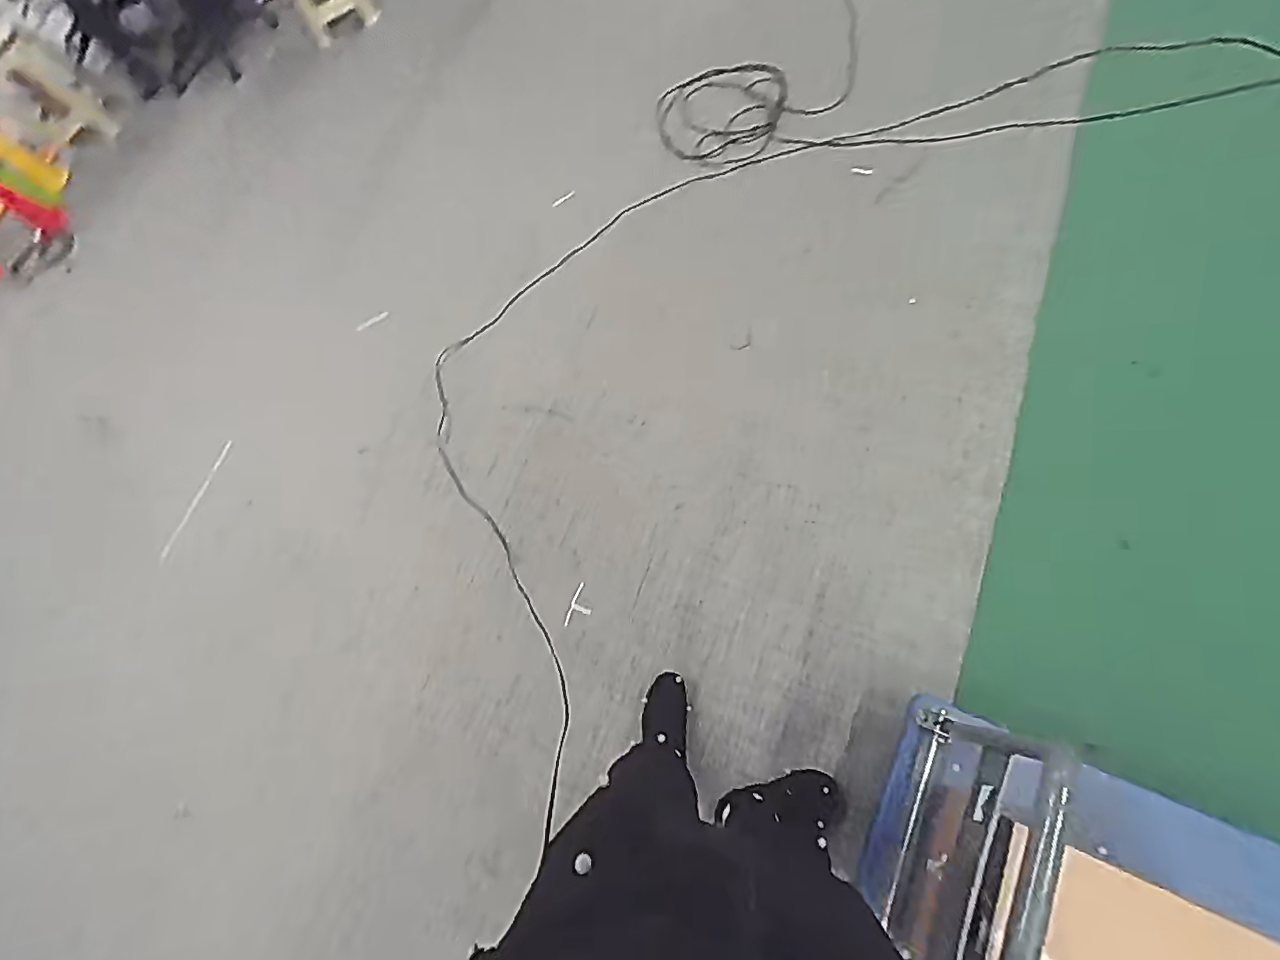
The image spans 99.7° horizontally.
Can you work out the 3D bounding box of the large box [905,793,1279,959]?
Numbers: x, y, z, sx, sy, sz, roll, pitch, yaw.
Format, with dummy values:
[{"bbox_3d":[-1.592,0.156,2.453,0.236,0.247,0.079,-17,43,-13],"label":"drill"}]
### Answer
[{"bbox_3d":[0.709,0.776,0.874,0.408,0.320,0.320,20,76,18],"label":"large box"}]
